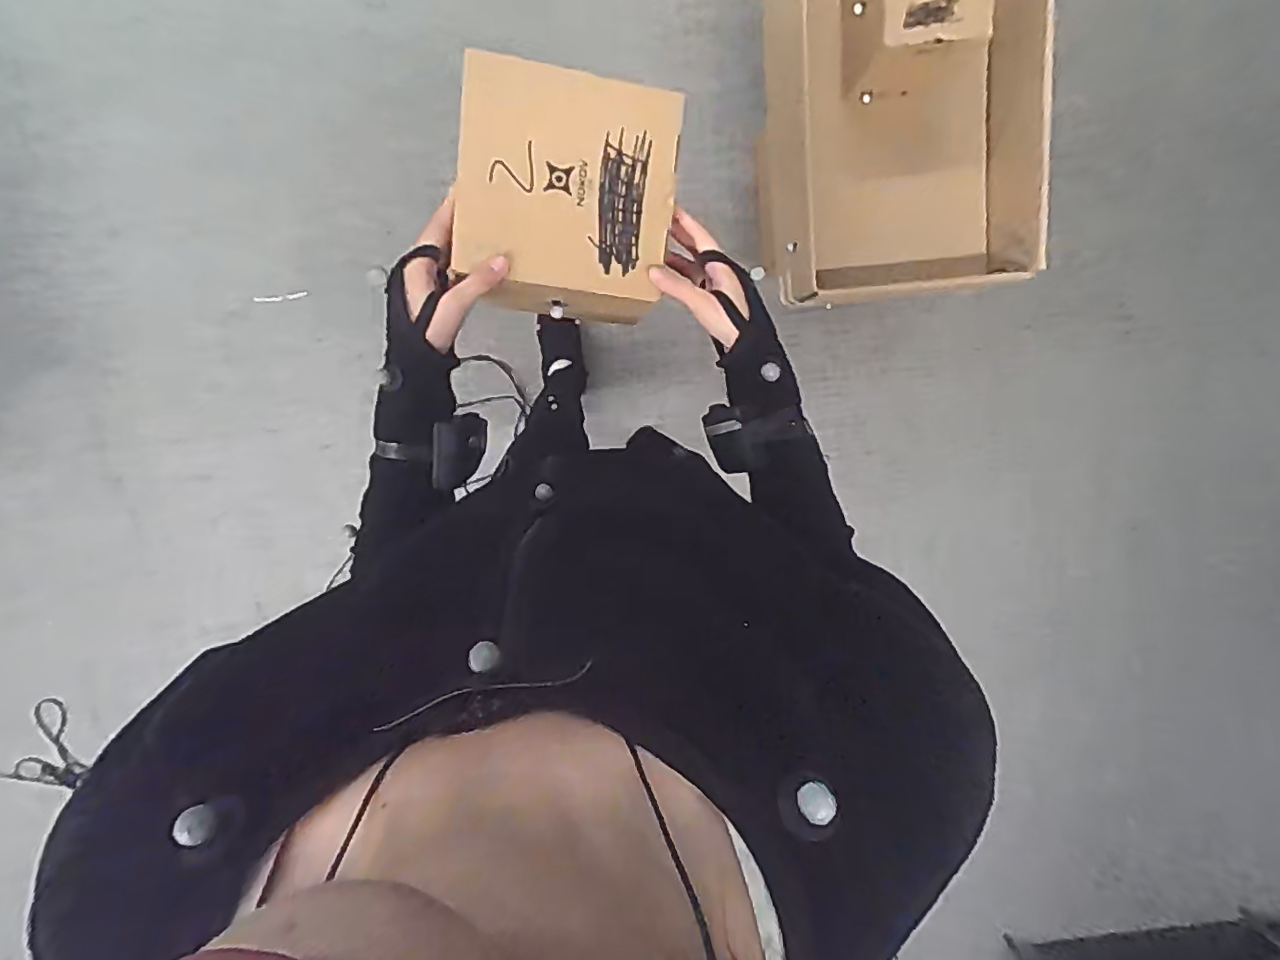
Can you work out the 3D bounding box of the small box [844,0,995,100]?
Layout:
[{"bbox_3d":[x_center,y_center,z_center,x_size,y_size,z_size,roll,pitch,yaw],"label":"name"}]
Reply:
[{"bbox_3d":[0.444,-0.749,0.879,0.168,0.176,0.179,-4,99,0],"label":"small box"}]
